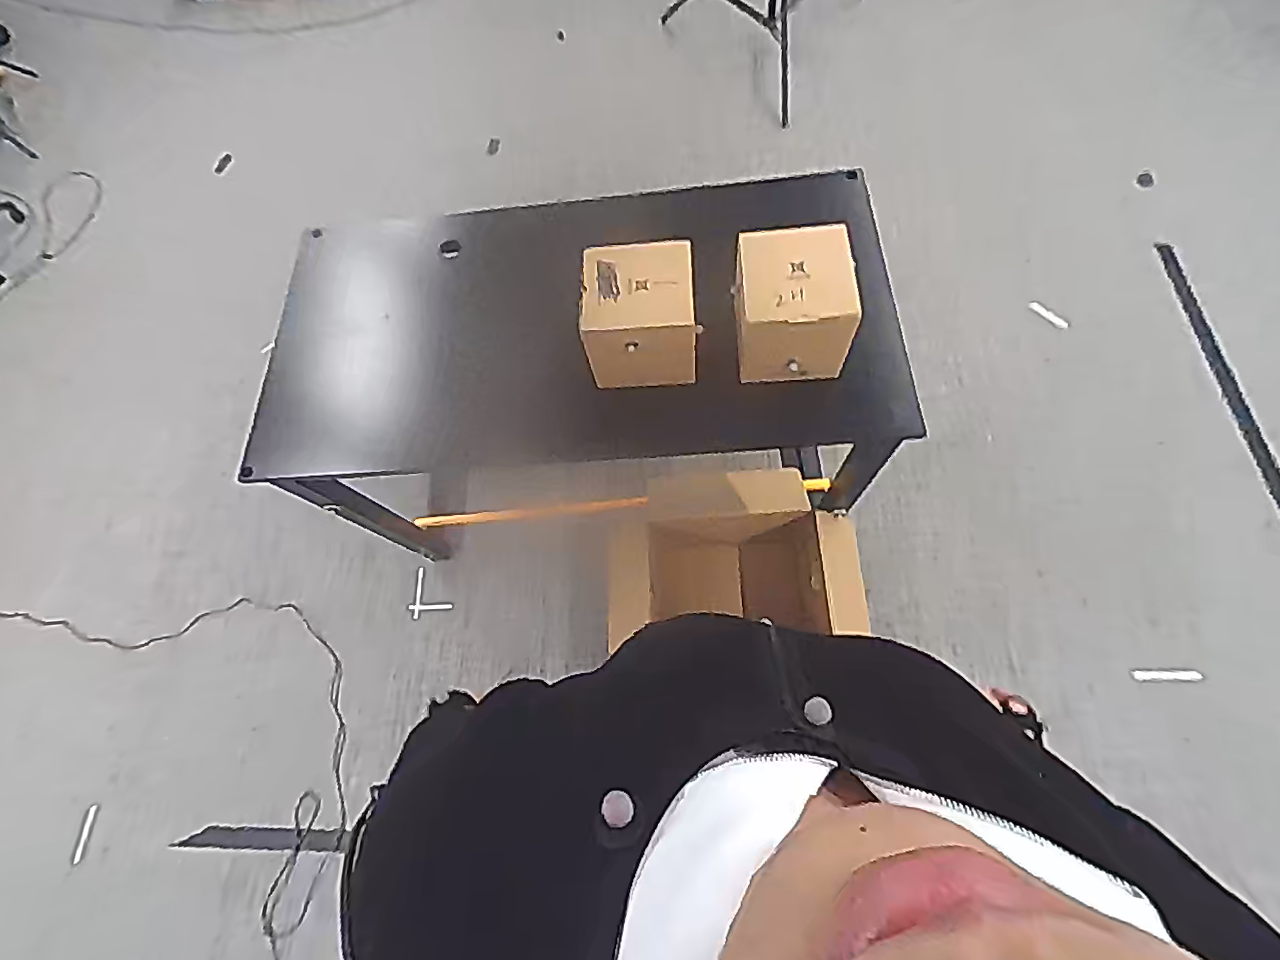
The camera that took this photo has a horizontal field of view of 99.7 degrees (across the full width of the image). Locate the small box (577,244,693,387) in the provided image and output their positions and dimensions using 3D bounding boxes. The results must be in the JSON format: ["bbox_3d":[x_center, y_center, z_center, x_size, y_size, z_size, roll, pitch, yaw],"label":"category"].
[{"bbox_3d":[0.000,-0.270,0.919,0.179,0.176,0.168,-1,68,5],"label":"small box"}]

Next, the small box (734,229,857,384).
[{"bbox_3d":[0.244,-0.279,0.892,0.168,0.176,0.179,-2,68,7],"label":"small box"}]
